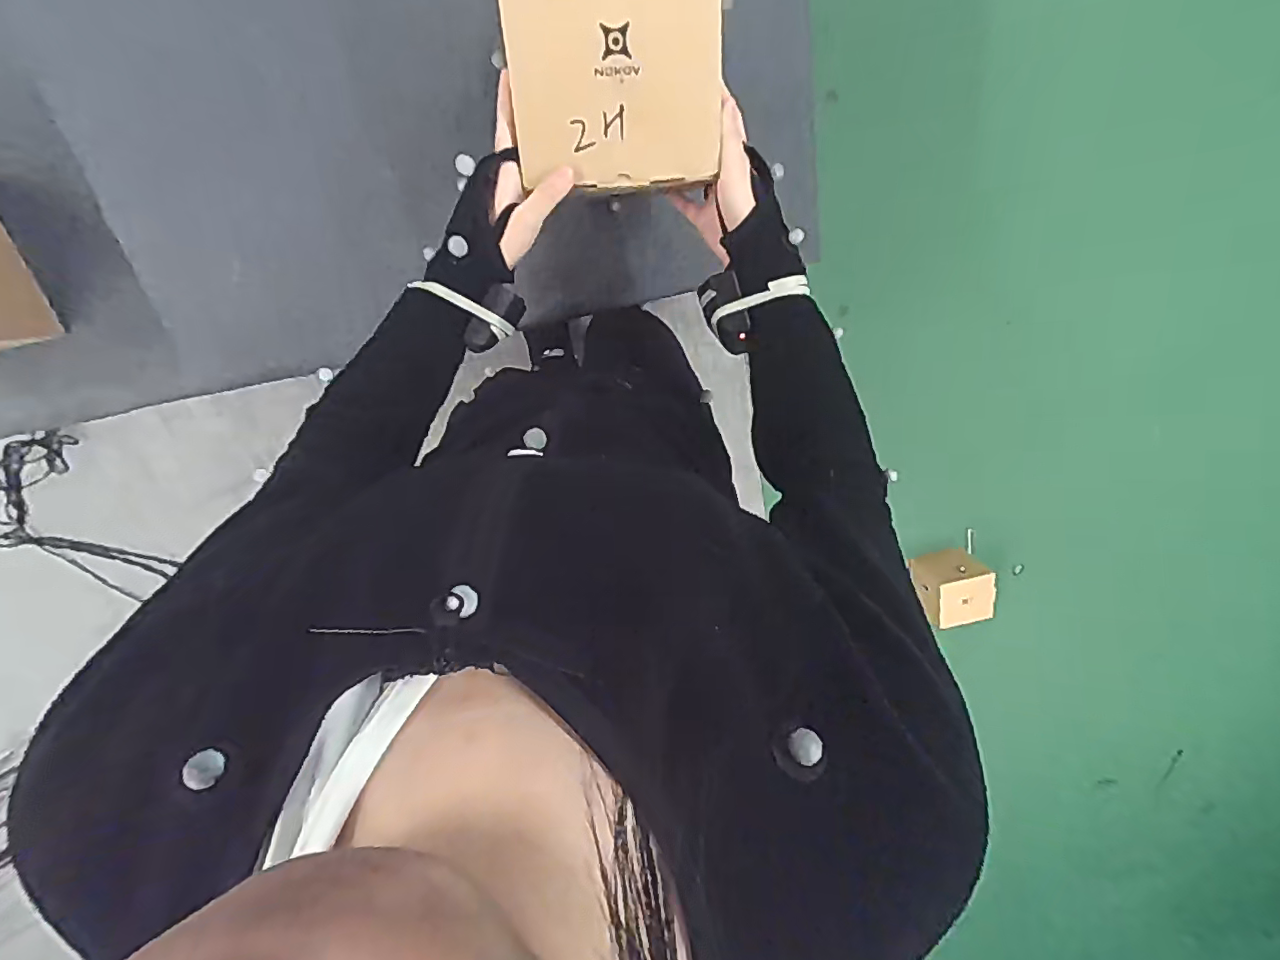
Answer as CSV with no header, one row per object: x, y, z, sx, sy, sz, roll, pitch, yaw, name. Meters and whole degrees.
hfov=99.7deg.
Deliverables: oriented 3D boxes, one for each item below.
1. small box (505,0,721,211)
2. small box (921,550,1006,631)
-0.024,-0.353,0.494,0.168,0.176,0.179,-5,114,-2,small box
1.007,0.343,1.699,0.179,0.176,0.168,-13,111,-1,small box
